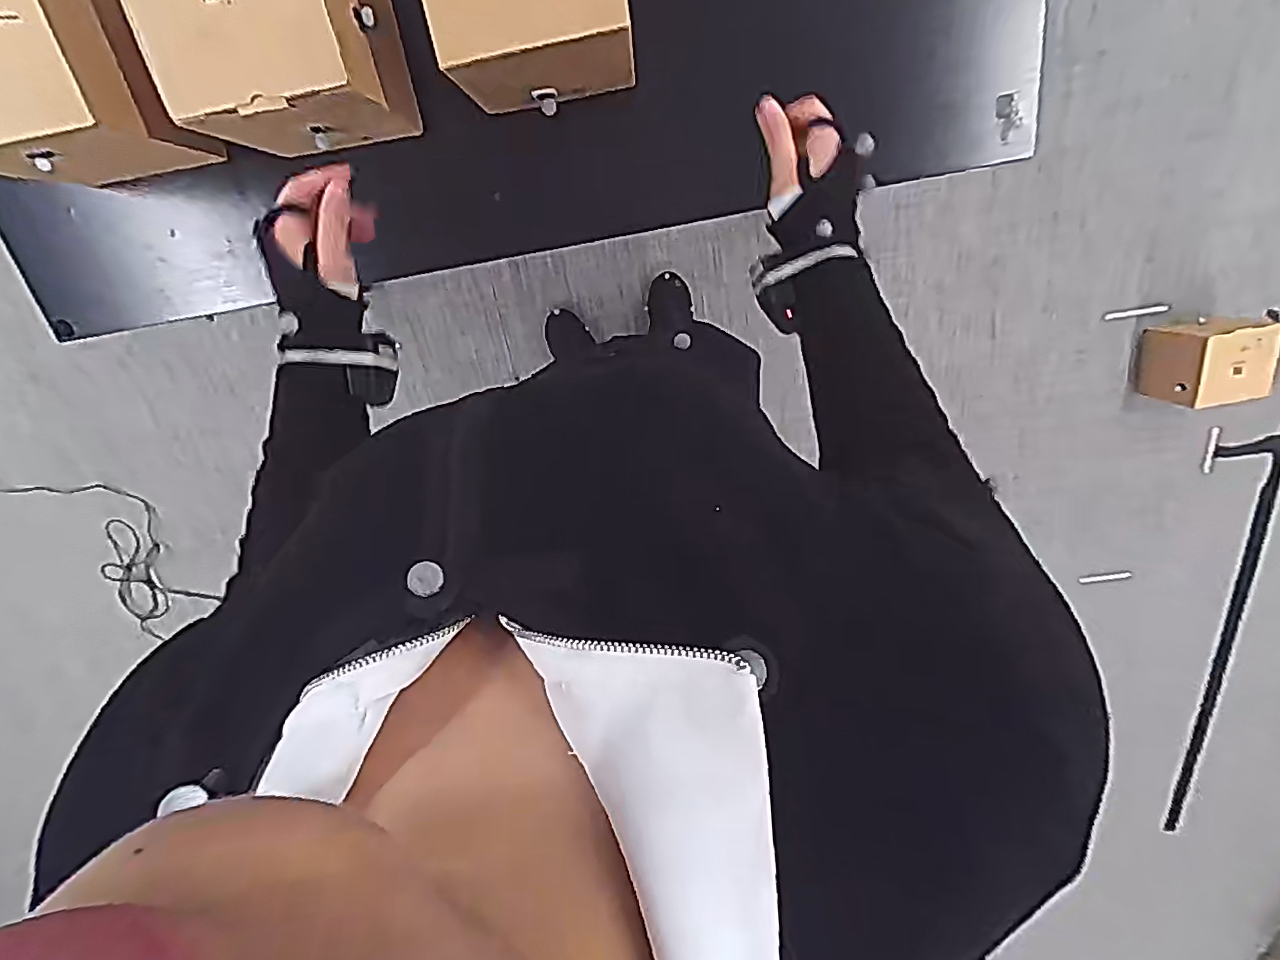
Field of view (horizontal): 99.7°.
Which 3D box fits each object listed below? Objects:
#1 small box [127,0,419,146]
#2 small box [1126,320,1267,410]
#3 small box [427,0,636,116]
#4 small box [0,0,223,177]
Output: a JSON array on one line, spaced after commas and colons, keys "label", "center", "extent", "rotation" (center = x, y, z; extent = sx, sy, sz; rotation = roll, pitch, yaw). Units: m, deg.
[{"label": "small box", "center": [-0.333, -0.431, 0.507], "extent": [0.168, 0.176, 0.179], "rotation": [-7, 112, 3]}, {"label": "small box", "center": [1.372, -0.290, 1.349], "extent": [0.168, 0.176, 0.179], "rotation": [-10, 112, 4]}, {"label": "small box", "center": [-0.098, -0.467, 0.495], "extent": [0.168, 0.176, 0.179], "rotation": [-9, 113, 5]}, {"label": "small box", "center": [-0.564, -0.403, 0.516], "extent": [0.179, 0.176, 0.168], "rotation": [-9, 112, 3]}]
